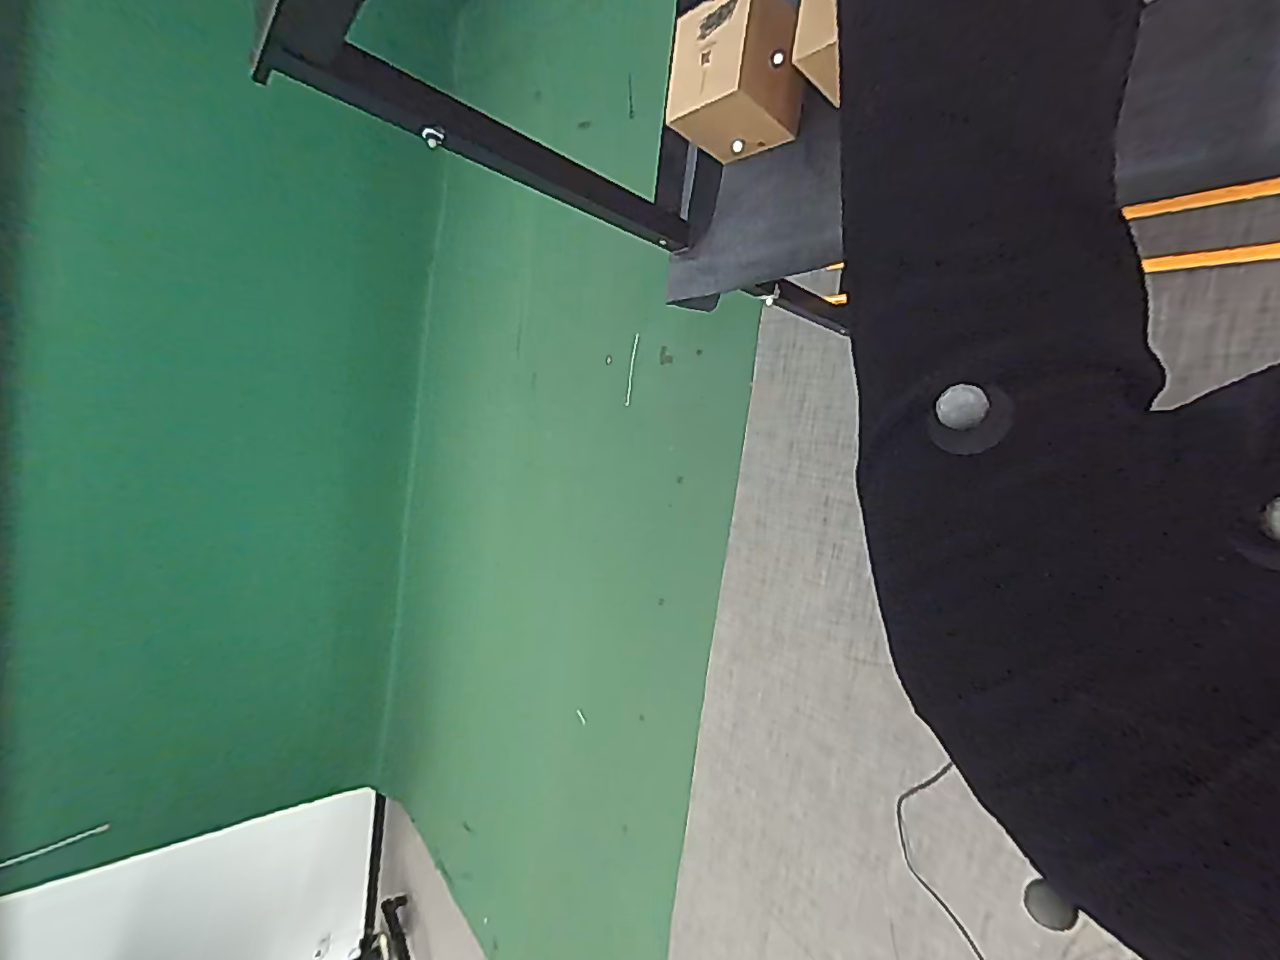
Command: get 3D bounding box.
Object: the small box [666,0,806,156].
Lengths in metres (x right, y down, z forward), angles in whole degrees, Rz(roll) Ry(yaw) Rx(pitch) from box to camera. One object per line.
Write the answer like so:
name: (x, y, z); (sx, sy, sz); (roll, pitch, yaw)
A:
small box: (0.170, -0.704, 0.934); (0.168, 0.176, 0.179); (13, 98, 47)

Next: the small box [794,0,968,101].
small box: (0.340, -0.668, 0.749); (0.168, 0.176, 0.179); (13, 97, 47)
